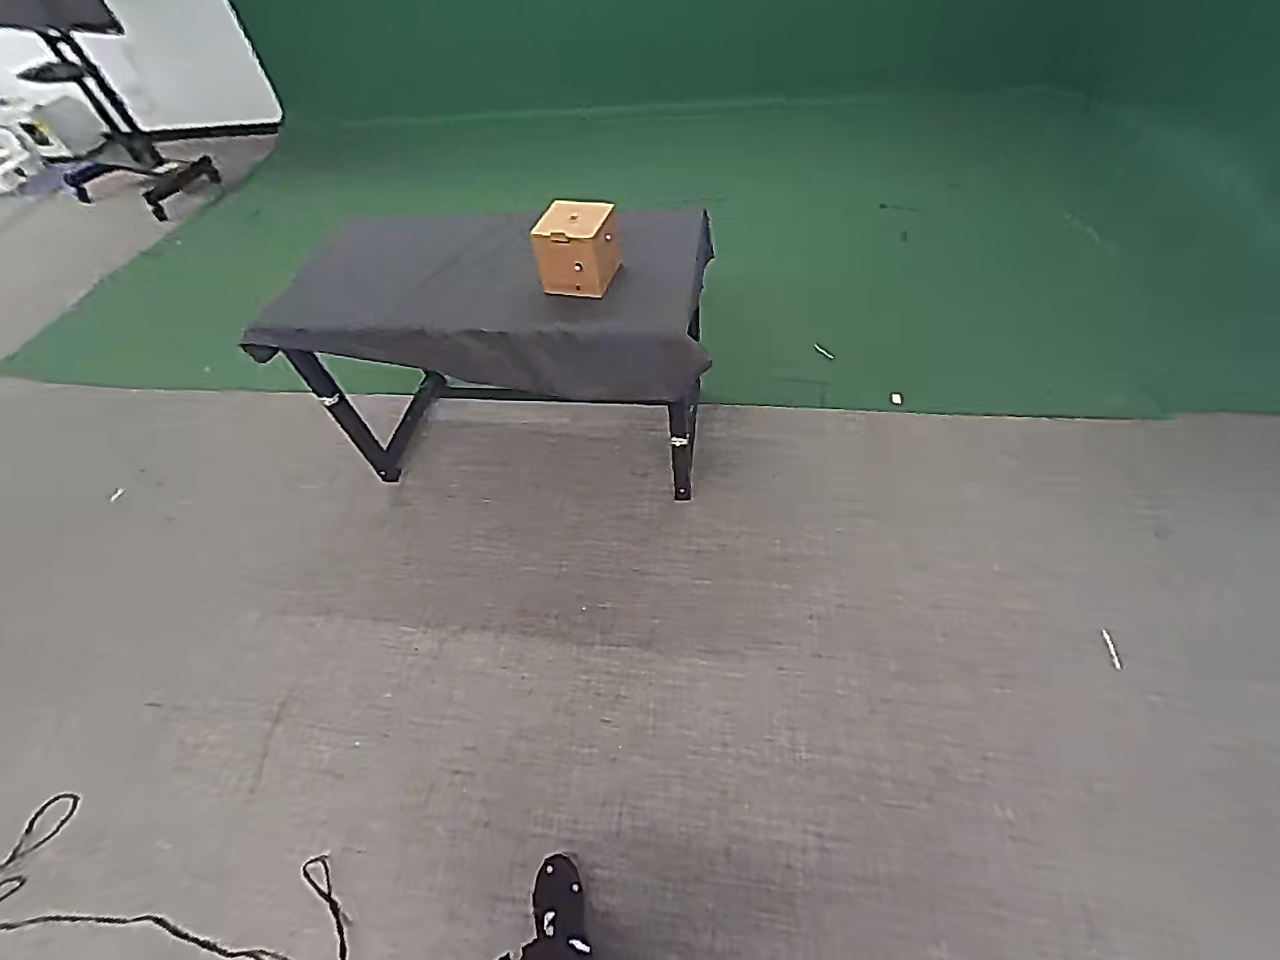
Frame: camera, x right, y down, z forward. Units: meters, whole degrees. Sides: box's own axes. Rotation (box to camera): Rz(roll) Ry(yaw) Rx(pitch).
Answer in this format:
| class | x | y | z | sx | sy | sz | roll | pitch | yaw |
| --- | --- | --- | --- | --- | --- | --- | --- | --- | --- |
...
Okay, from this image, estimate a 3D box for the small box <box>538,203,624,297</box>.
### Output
| class | x | y | z | sx | sy | sz | roll | pitch | yaw |
| --- | --- | --- | --- | --- | --- | --- | --- | --- | --- |
| small box | -0.147 | -0.607 | 1.434 | 0.168 | 0.176 | 0.179 | 12 | 53 | 13 |
